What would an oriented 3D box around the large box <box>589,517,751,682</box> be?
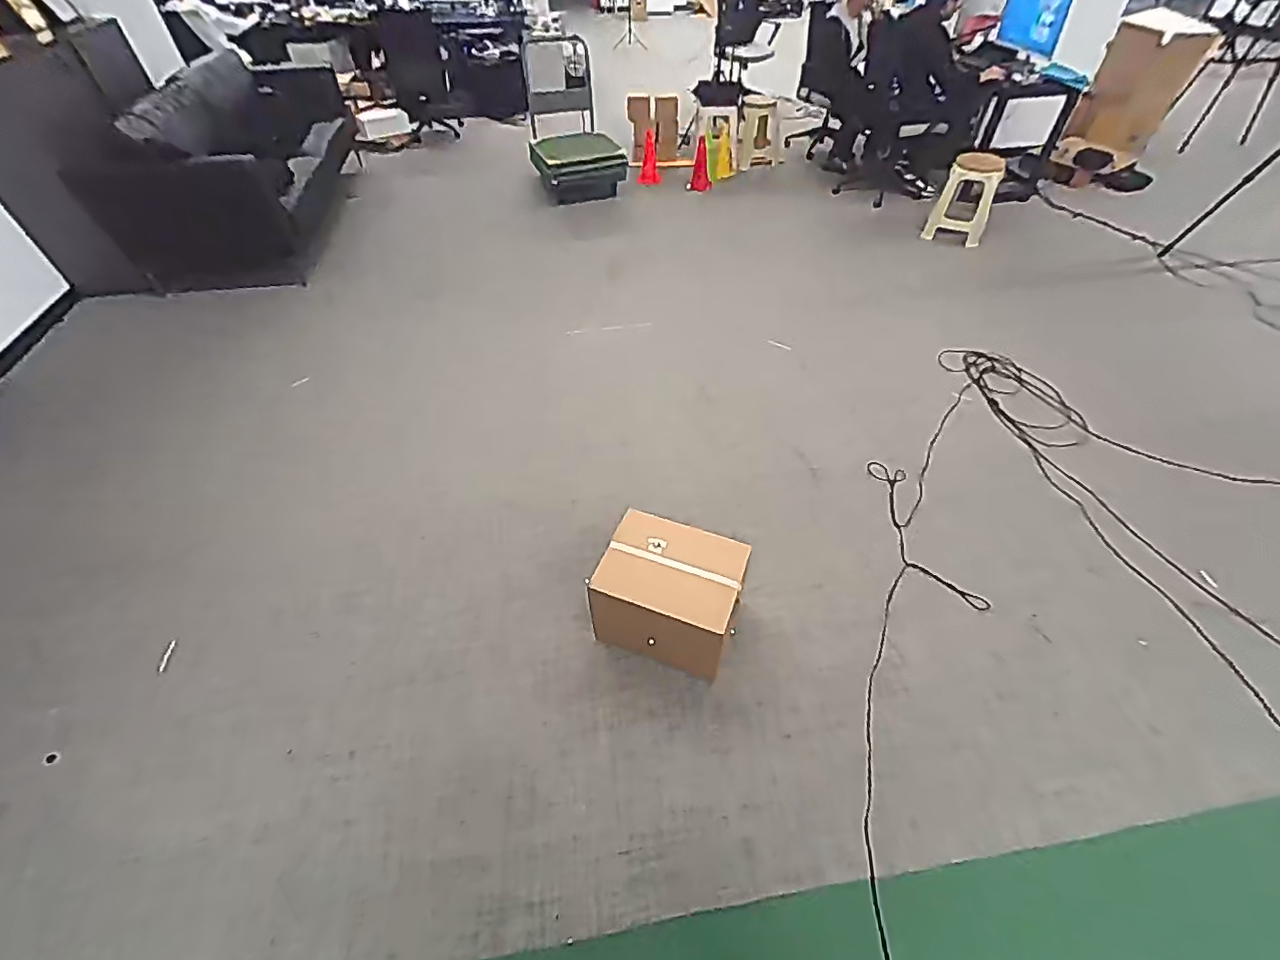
[{"bbox_3d":[0.101,0.370,1.679,0.408,0.320,0.320,15,49,16],"label":"large box"}]
